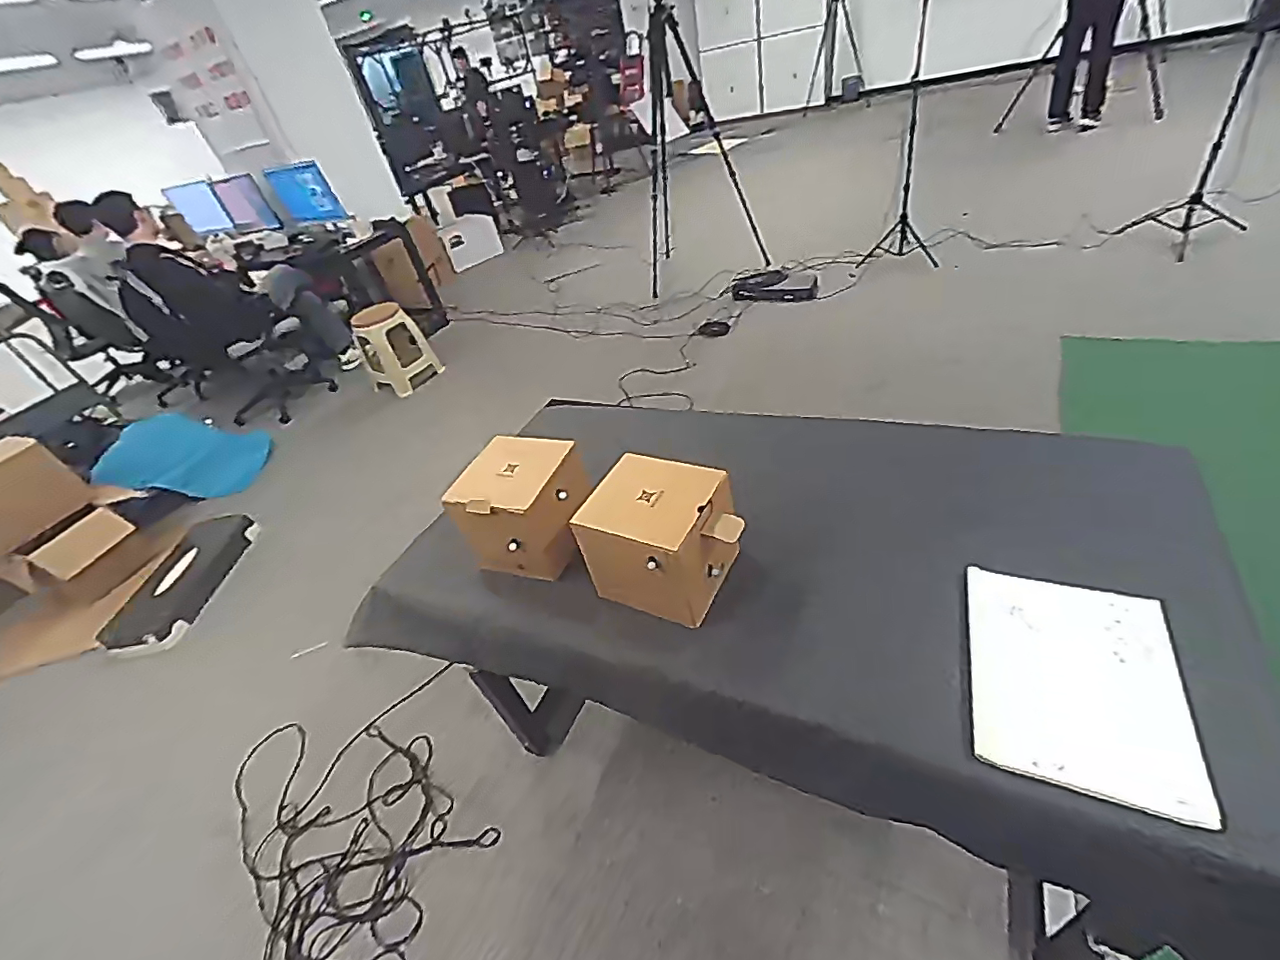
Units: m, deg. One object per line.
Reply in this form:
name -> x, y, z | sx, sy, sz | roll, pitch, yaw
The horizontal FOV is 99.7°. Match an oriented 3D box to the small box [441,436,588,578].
small box -> -0.199, 0.045, 0.933 | 0.168, 0.176, 0.179 | 6, 42, 22

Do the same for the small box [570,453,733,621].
small box -> 0.027, 0.084, 0.812 | 0.179, 0.176, 0.168 | 12, 45, 29
